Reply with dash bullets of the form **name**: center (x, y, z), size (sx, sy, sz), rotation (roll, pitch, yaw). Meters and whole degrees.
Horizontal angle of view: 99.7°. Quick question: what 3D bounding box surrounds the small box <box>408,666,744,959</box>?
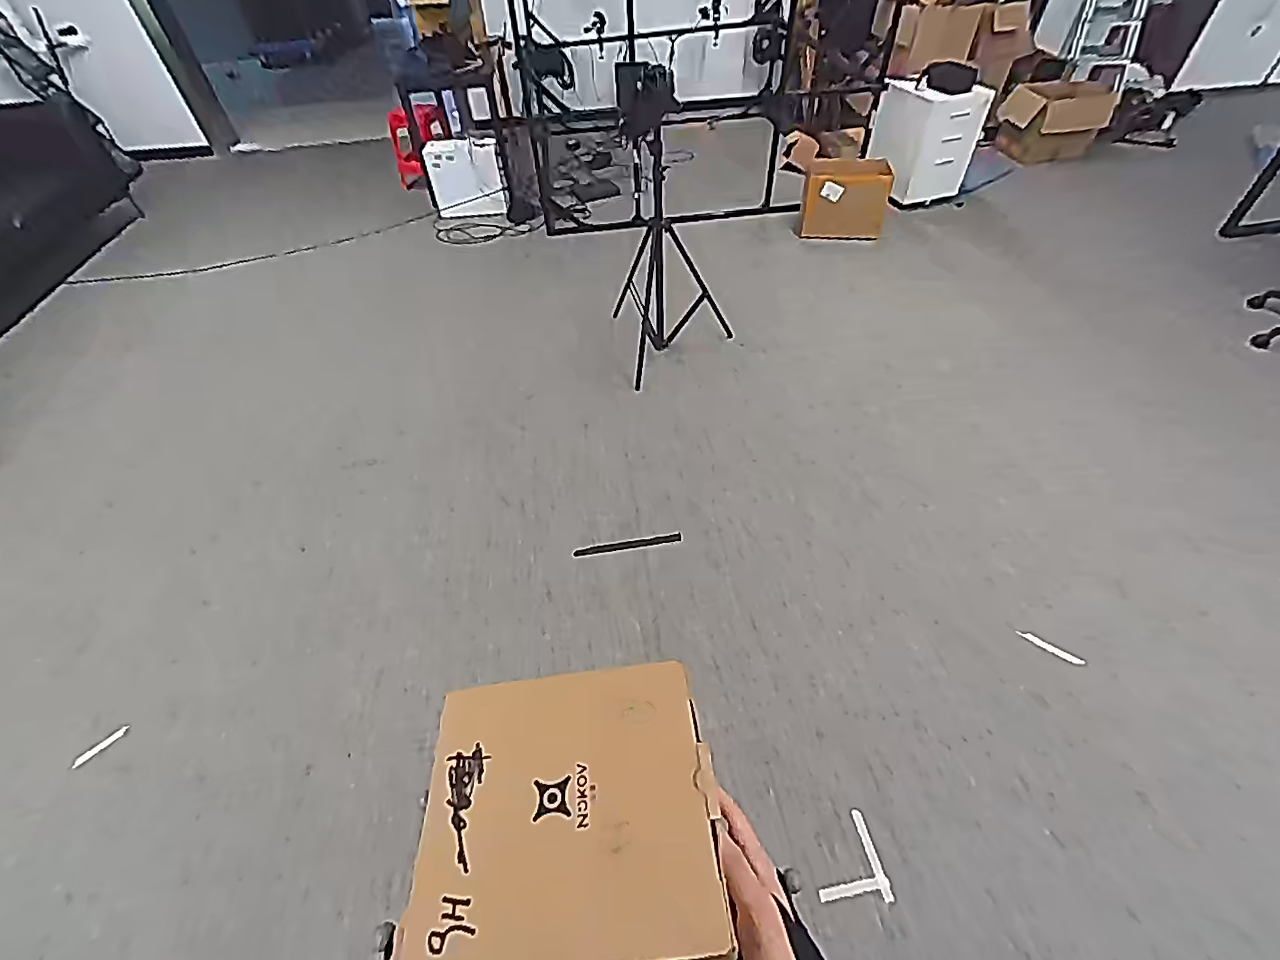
- **small box**: center (-0.036, 0.257, 0.385), size (0.179, 0.176, 0.168), rotation (-6, 40, -2)
